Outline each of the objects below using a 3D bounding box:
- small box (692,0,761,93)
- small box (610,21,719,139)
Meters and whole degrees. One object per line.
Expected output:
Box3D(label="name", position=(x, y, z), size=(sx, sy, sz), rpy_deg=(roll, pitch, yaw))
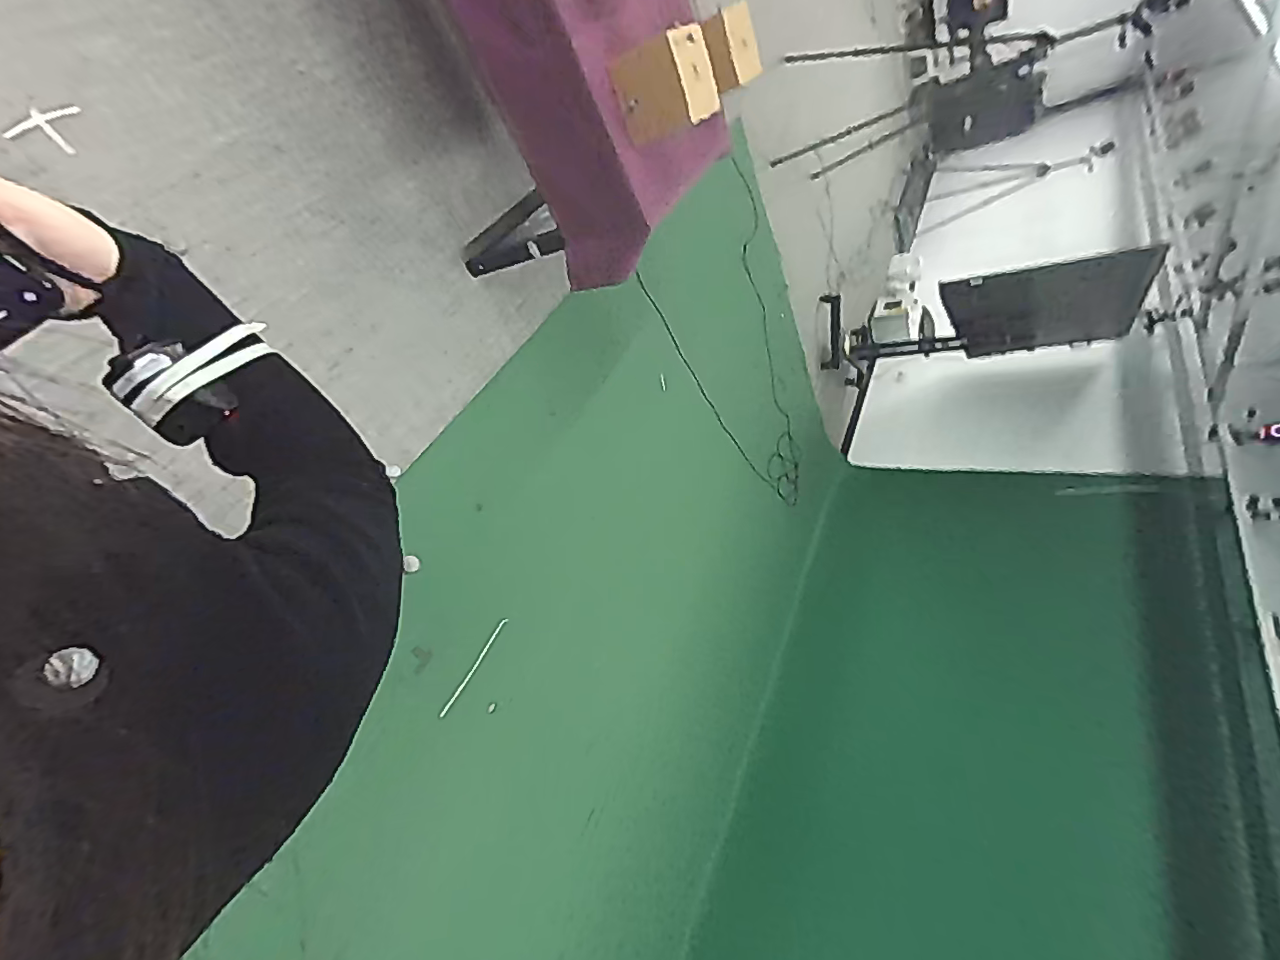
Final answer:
Box3D(label="small box", position=(0.201, -1.143, 1.444), size=(0.179, 0.176, 0.168), rpy_deg=(-56, 133, -35))
Box3D(label="small box", position=(0.059, -0.927, 1.266), size=(0.168, 0.176, 0.179), rpy_deg=(-53, 133, -38))
